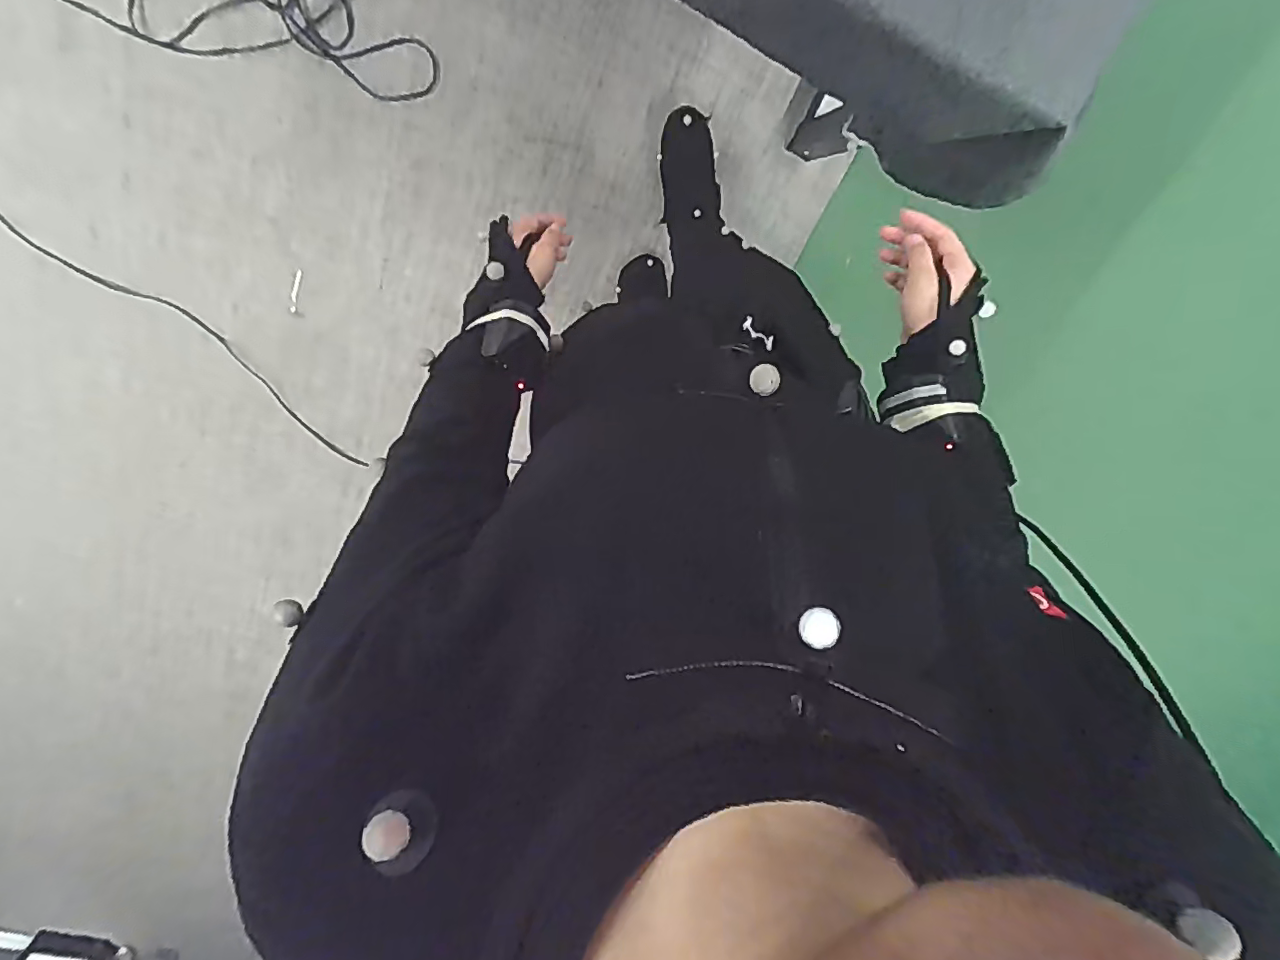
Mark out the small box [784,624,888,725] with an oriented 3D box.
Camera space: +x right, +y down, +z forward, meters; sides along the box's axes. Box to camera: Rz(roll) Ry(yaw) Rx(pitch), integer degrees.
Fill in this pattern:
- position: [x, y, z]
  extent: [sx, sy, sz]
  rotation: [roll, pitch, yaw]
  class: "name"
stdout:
- position: [0.509, 0.510, 1.436]
  extent: [0.179, 0.176, 0.168]
  rotation: [18, 114, -11]
  class: "small box"
